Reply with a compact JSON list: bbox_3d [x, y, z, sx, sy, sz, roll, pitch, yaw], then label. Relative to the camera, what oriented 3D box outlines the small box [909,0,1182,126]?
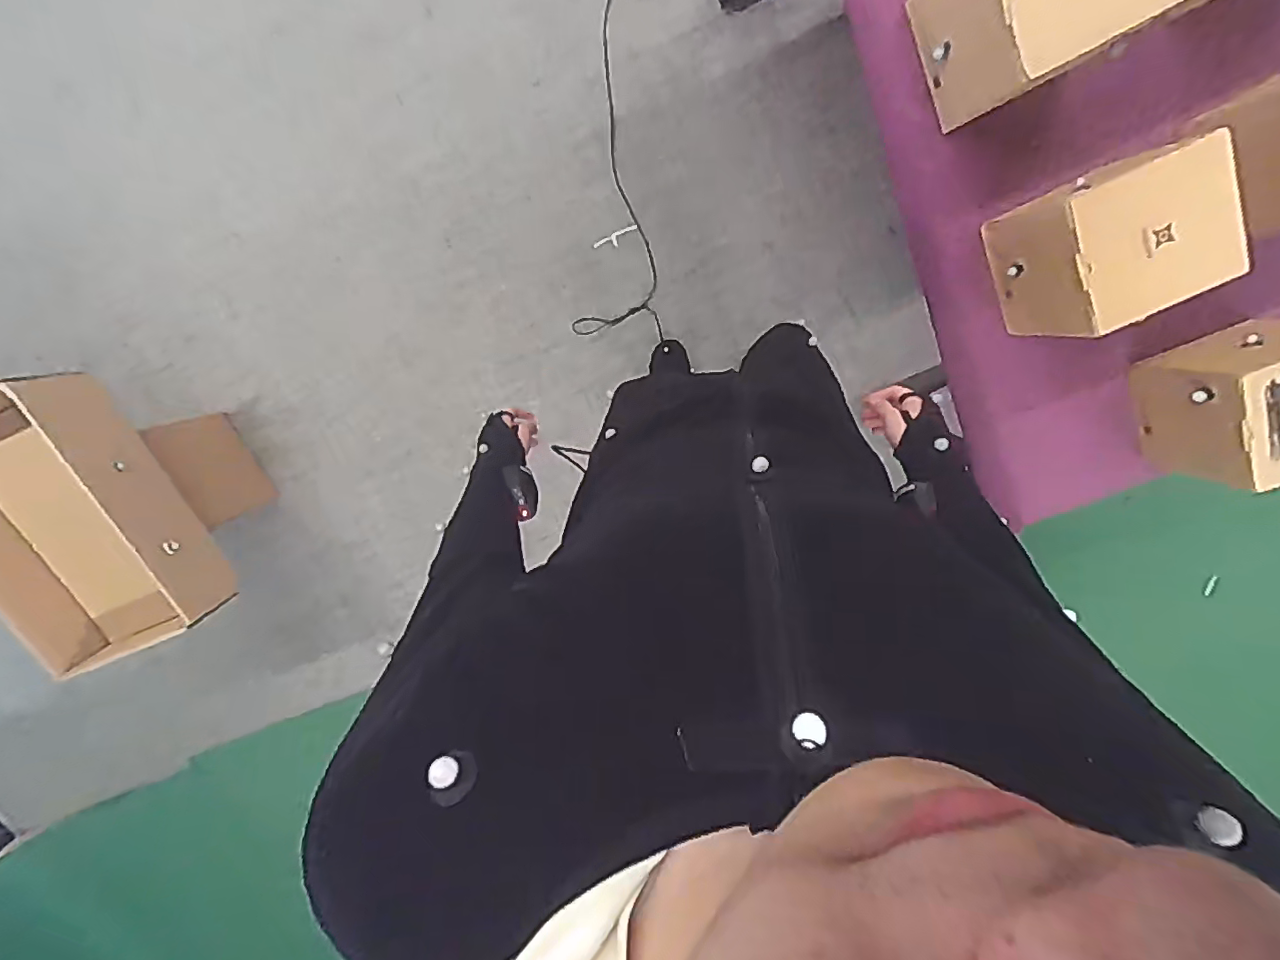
[{"bbox_3d":[0.450,-0.552,0.621,0.179,0.176,0.168,-25,105,8],"label":"small box"}]

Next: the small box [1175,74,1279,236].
[{"bbox_3d":[0.826,-0.418,0.656,0.179,0.176,0.168,-25,104,10],"label":"small box"}]

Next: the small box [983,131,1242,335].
[{"bbox_3d":[0.591,-0.303,0.697,0.179,0.176,0.168,-24,105,8],"label":"small box"}]
